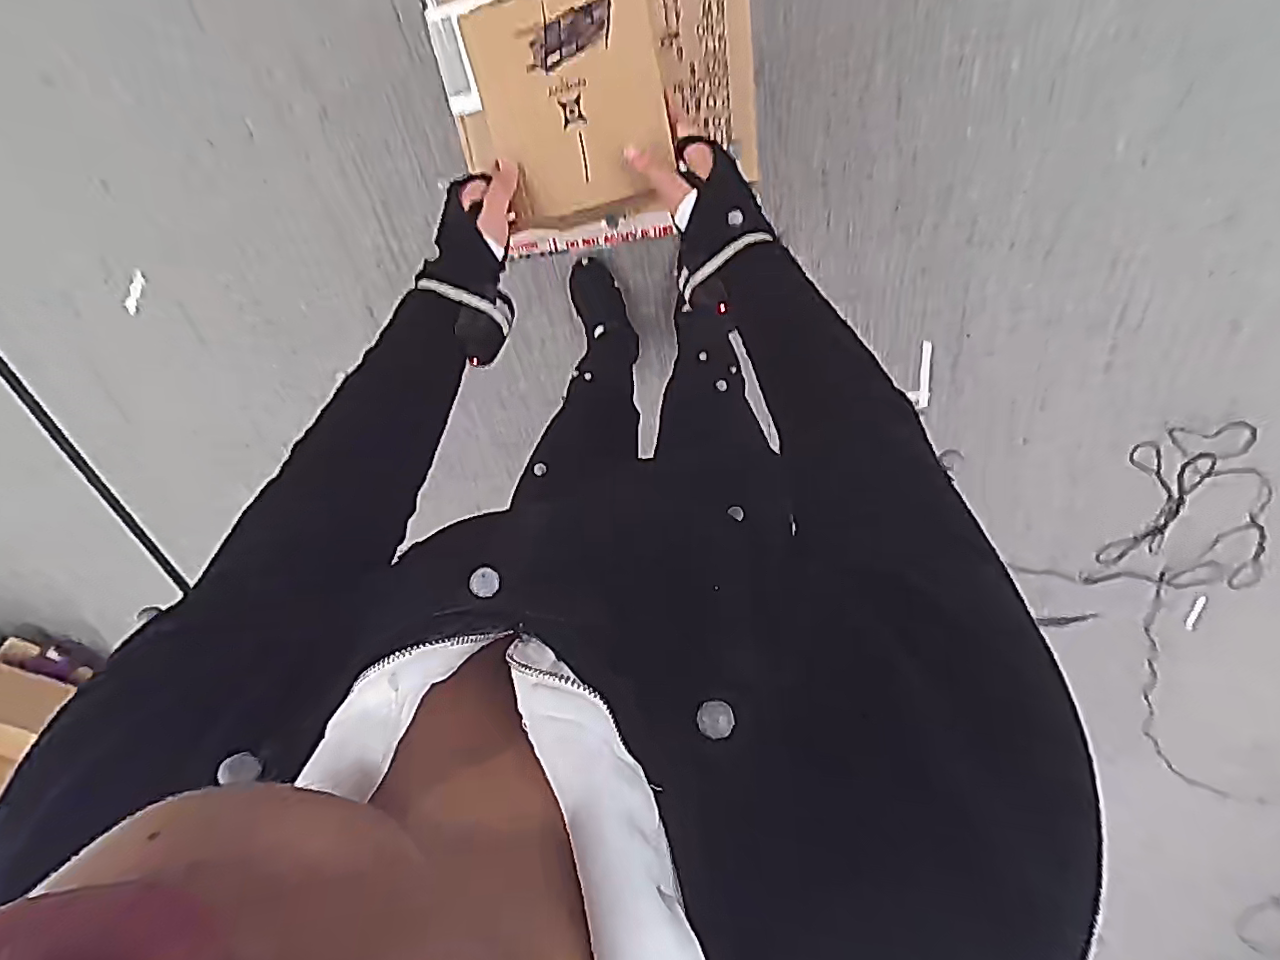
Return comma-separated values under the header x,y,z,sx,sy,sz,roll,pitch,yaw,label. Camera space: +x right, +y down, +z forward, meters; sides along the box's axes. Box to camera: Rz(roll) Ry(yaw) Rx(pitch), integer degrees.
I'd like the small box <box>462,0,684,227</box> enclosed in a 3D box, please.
x,y,z,sx,sy,sz,roll,pitch,yaw,label
-0.051,-0.374,0.558,0.168,0.176,0.179,-10,112,11,small box
